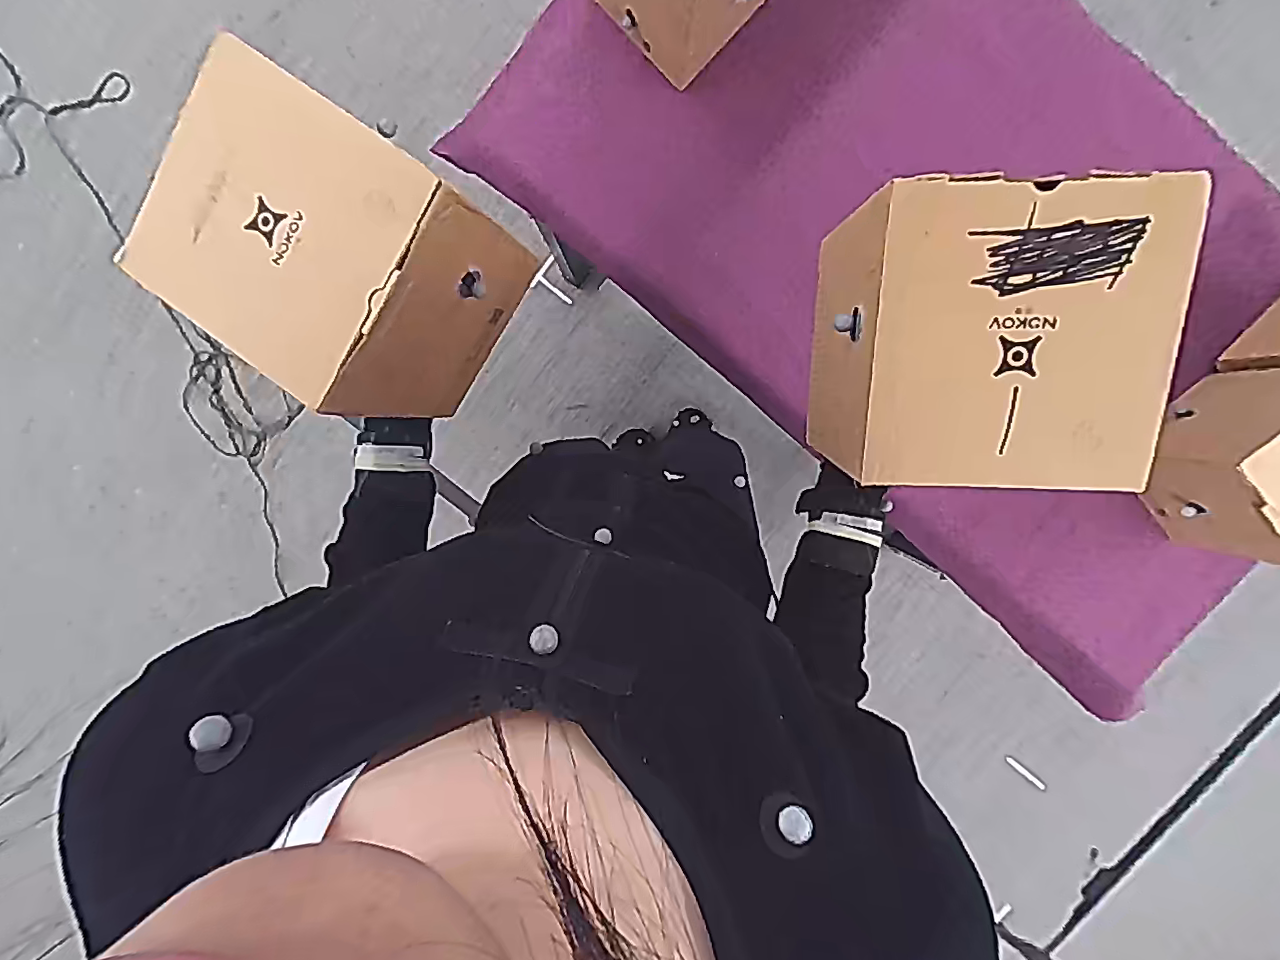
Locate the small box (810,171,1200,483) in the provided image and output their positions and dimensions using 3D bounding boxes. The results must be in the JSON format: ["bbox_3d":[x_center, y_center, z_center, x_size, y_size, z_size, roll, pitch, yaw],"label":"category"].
[{"bbox_3d":[0.228,-0.102,0.394,0.168,0.176,0.179,1,104,5],"label":"small box"}]

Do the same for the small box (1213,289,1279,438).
[{"bbox_3d":[0.893,-0.161,0.664,0.168,0.176,0.179,43,94,-6],"label":"small box"}]

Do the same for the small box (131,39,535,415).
[{"bbox_3d":[-0.209,-0.165,0.415,0.179,0.176,0.168,35,100,5],"label":"small box"}]
